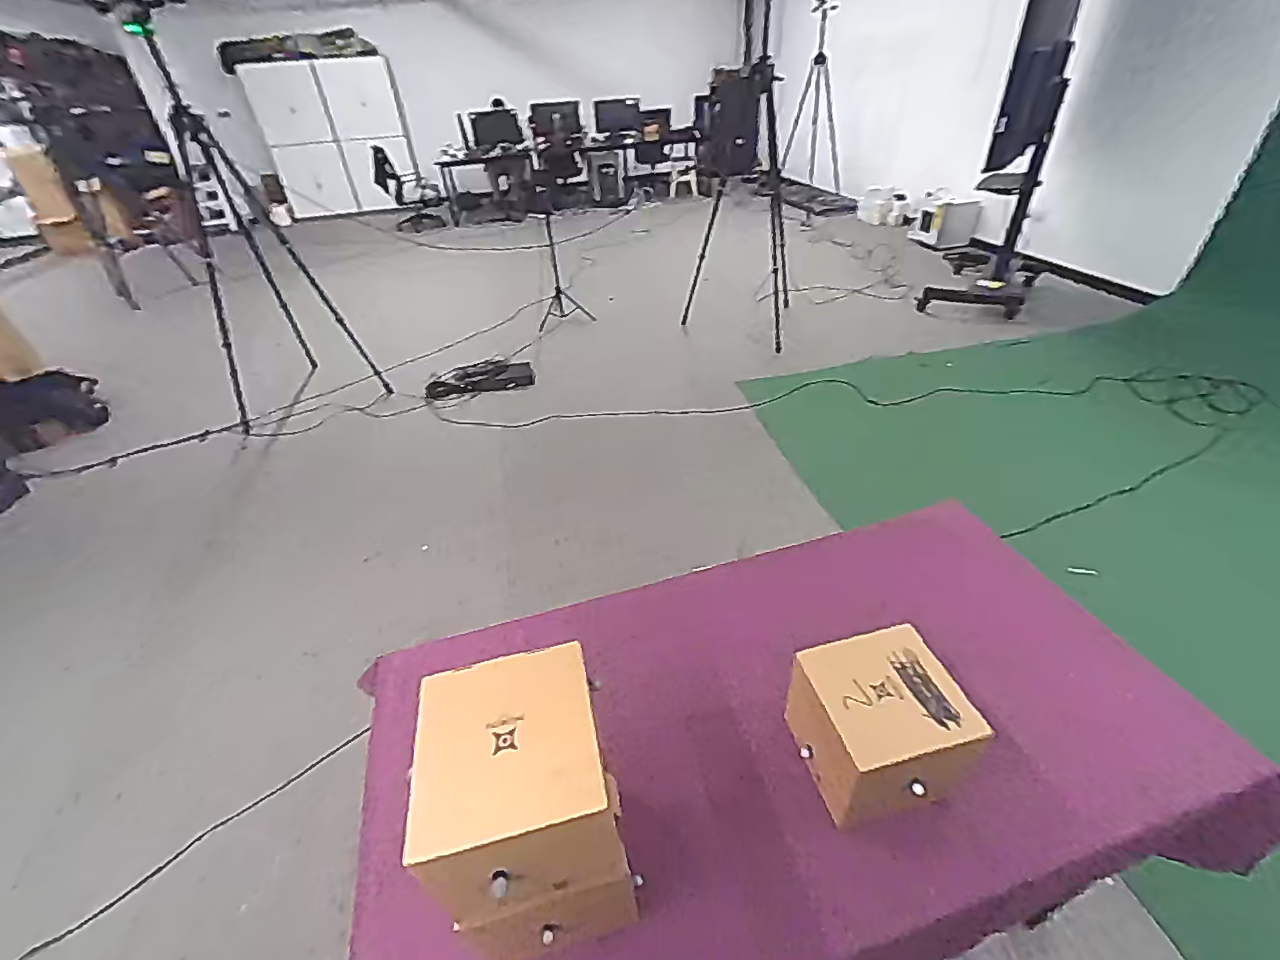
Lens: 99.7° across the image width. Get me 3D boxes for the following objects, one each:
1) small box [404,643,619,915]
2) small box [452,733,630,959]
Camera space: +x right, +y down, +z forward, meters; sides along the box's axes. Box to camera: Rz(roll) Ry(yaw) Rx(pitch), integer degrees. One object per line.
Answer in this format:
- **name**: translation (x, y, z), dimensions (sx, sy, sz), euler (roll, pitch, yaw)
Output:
- **small box**: translation (-0.121, 0.304, 0.549), dimensions (0.168, 0.176, 0.179), euler (-11, 36, -9)
- **small box**: translation (-0.112, 0.435, 0.644), dimensions (0.179, 0.176, 0.168), euler (-12, 37, -9)
